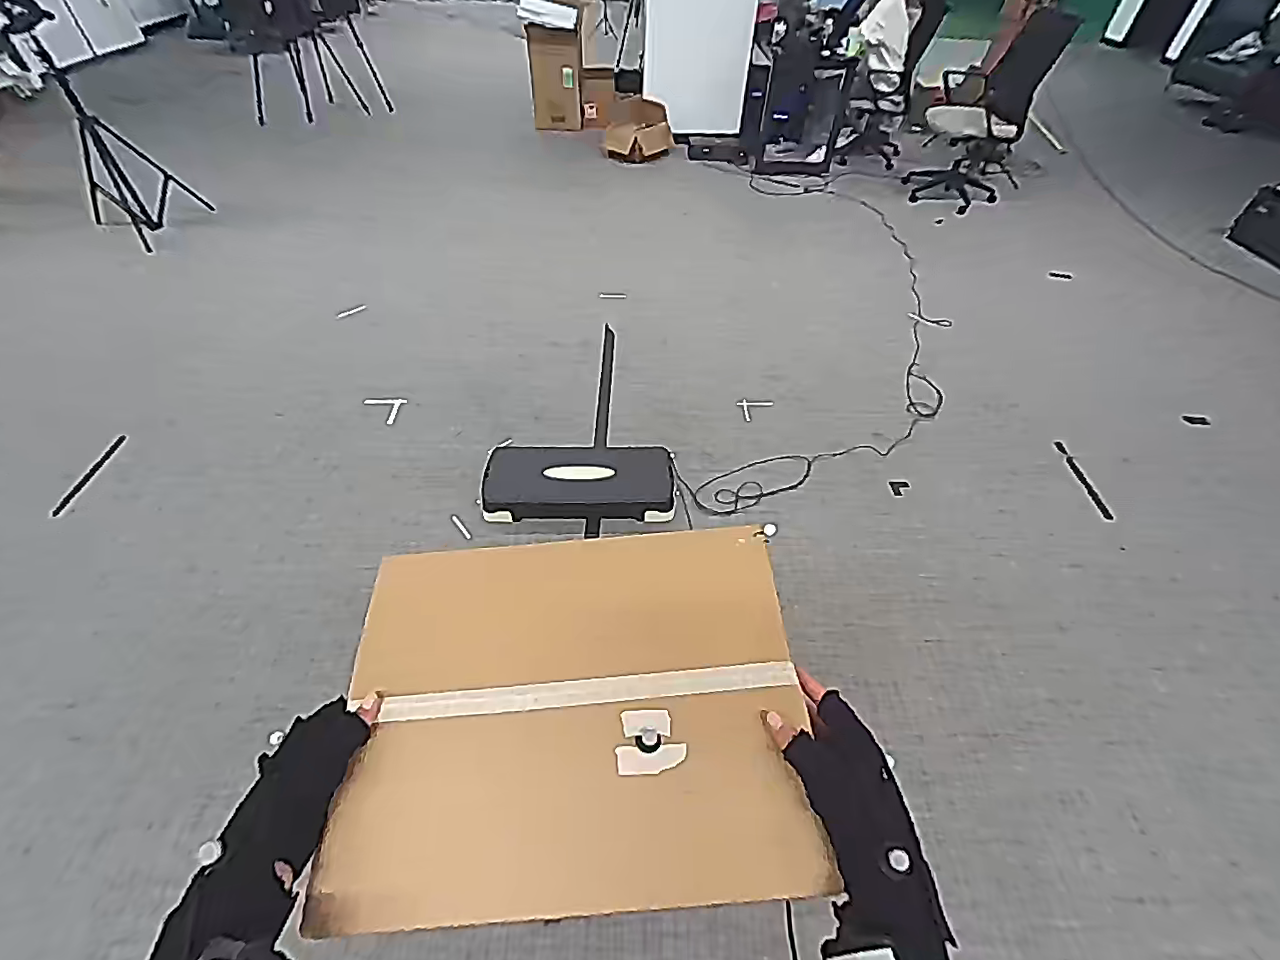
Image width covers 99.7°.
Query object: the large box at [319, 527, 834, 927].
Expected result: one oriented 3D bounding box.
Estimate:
[{"bbox_3d":[-0.055,0.278,0.615,0.408,0.320,0.320,-4,55,-1],"label":"large box"}]
